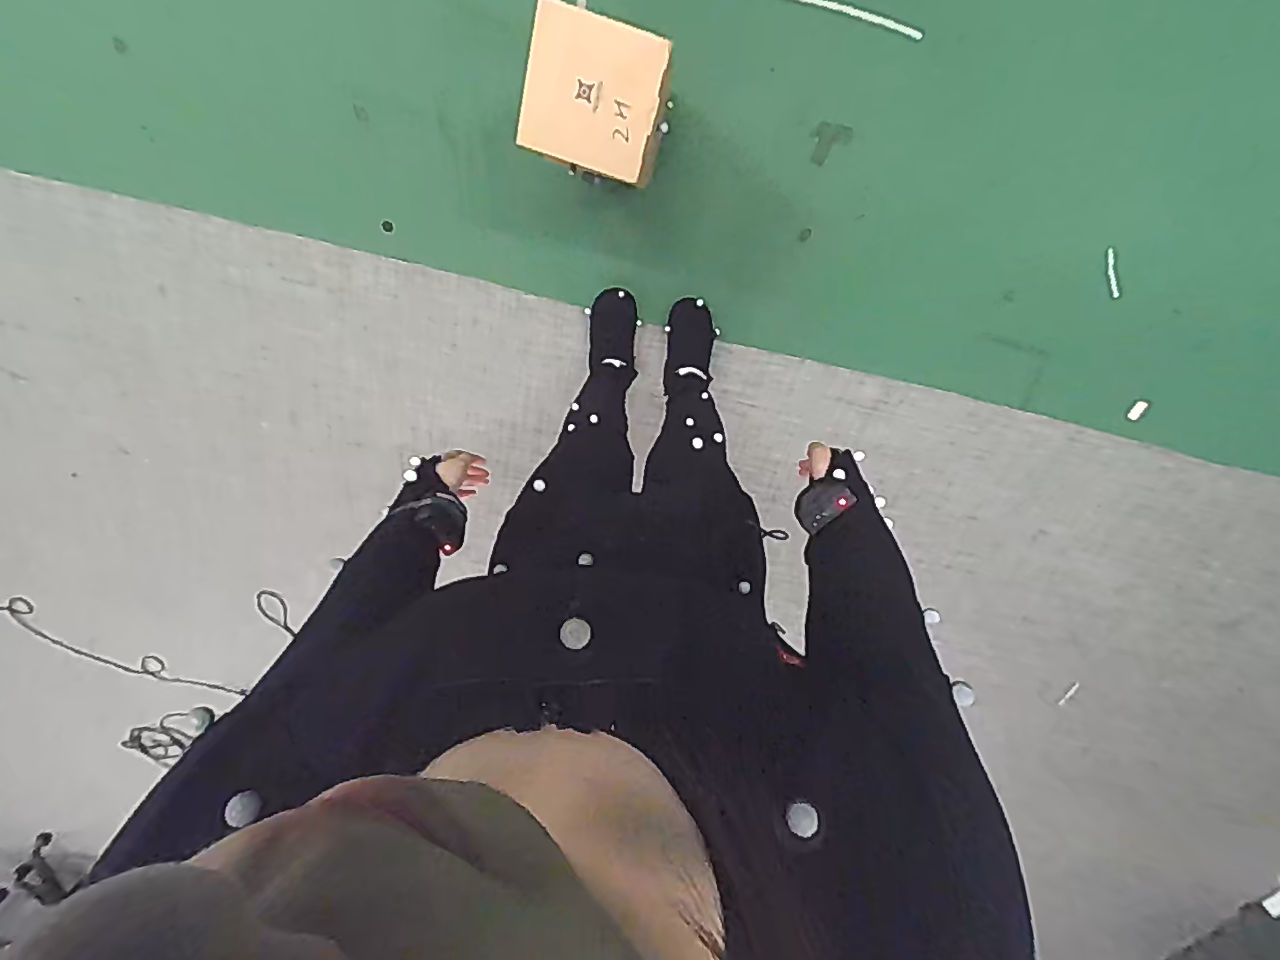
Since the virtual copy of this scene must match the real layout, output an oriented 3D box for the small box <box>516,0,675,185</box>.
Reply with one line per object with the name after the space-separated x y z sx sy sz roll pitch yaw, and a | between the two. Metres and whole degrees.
-0.057 -0.534 0.770 0.179 0.176 0.168 16 119 -5 | small box
